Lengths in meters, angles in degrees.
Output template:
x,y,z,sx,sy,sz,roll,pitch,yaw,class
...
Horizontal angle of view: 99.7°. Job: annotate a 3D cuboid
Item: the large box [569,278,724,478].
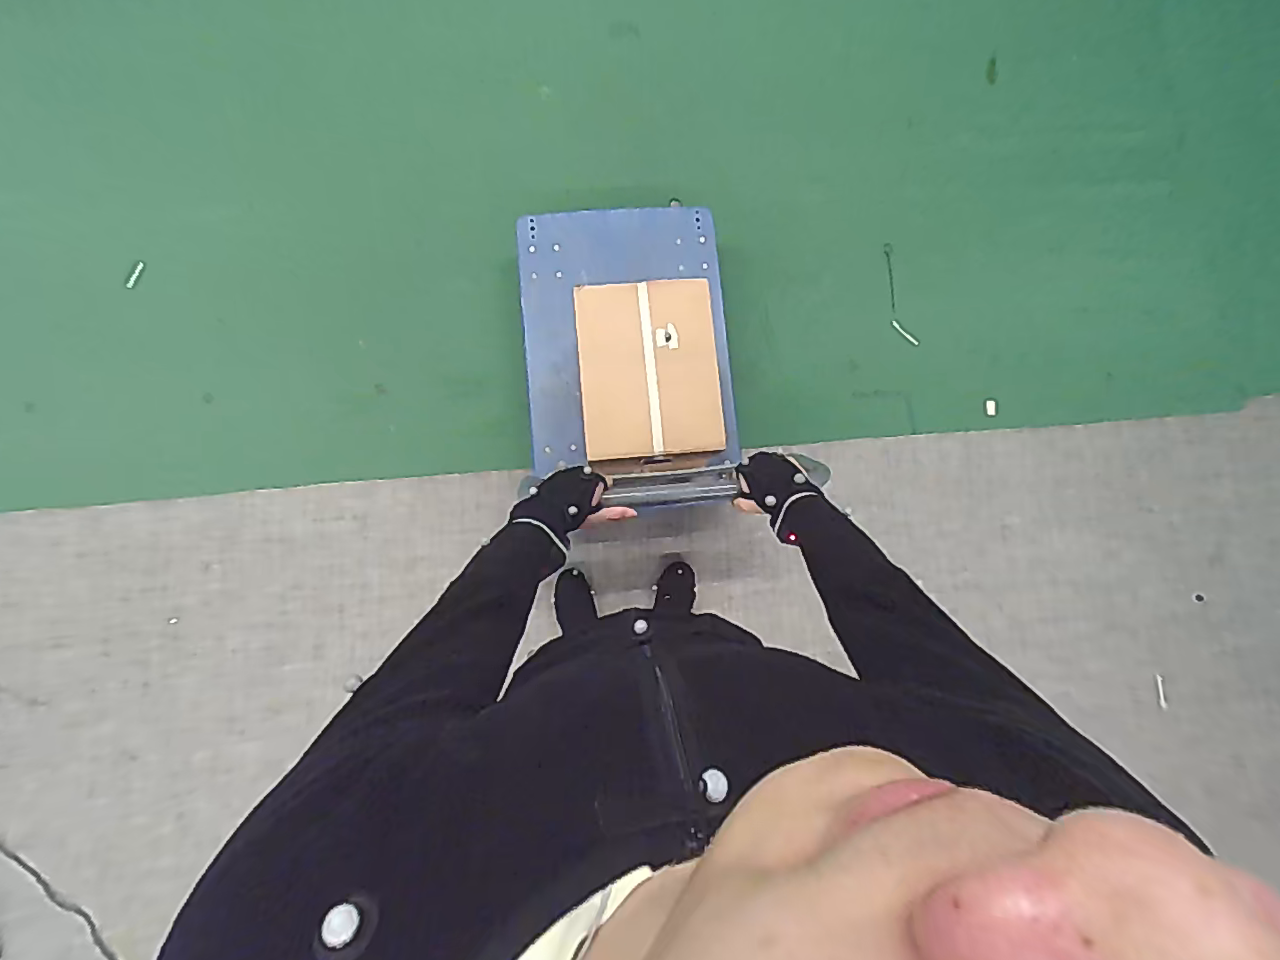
x,y,z,sx,sy,sz,roll,pitch,yaw,class
0.005,-0.236,1.359,0.320,0.320,0.408,-5,83,-5,large box
